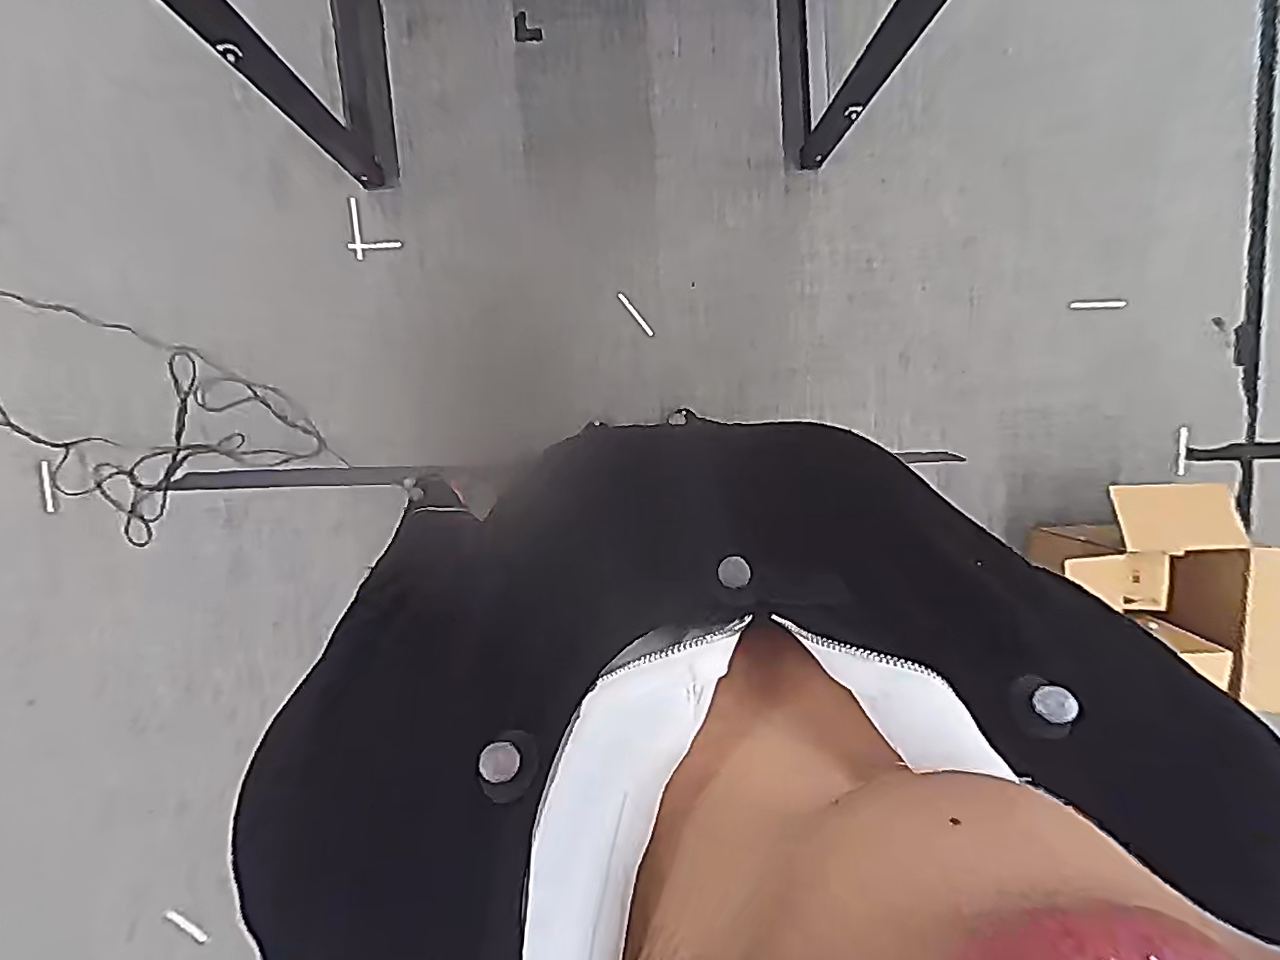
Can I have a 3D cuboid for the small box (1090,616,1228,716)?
[{"bbox_3d":[1.254,0.449,1.322,0.168,0.176,0.179,0,100,-3],"label":"small box"}]
